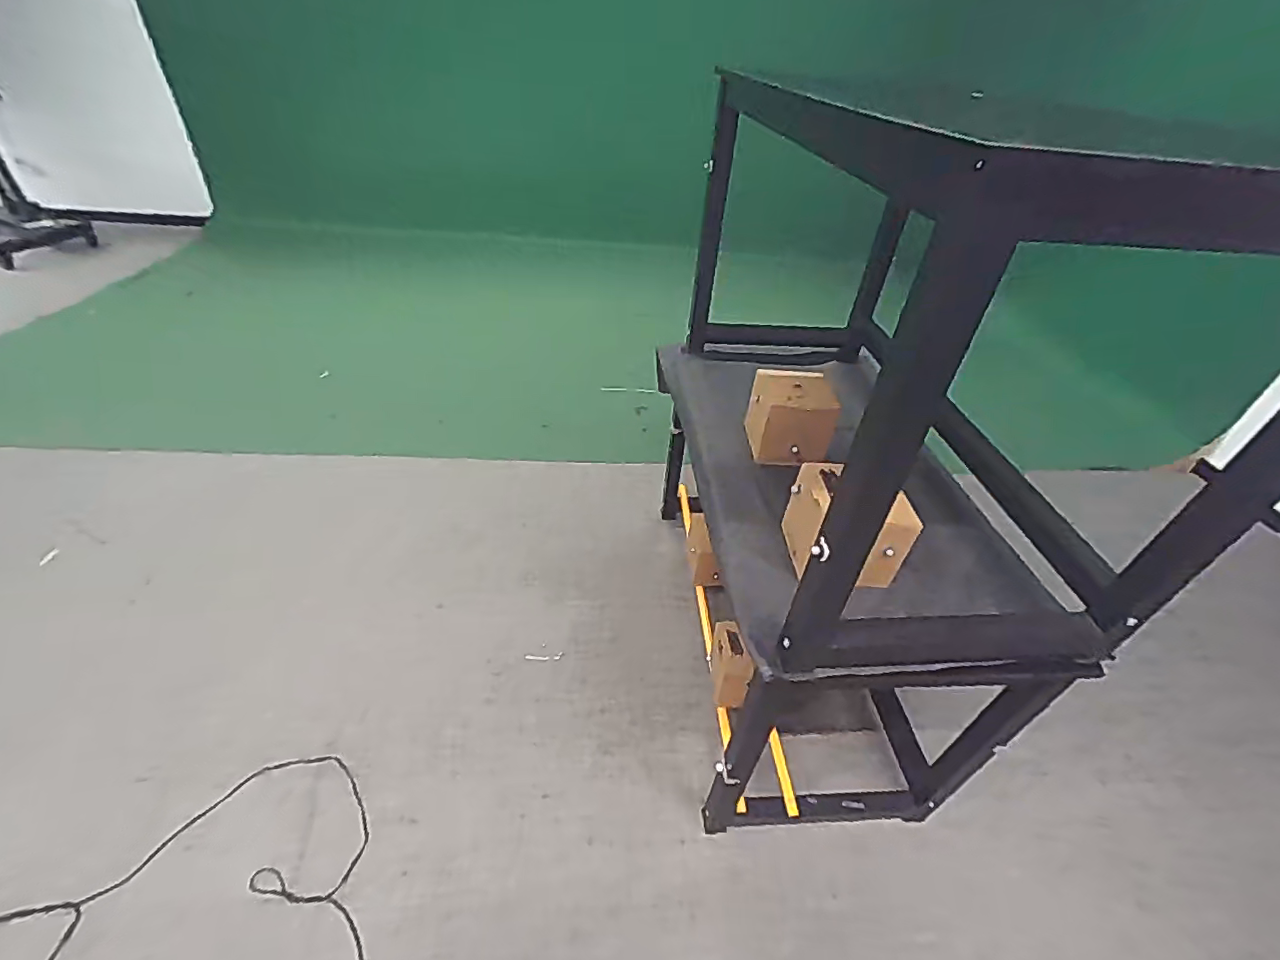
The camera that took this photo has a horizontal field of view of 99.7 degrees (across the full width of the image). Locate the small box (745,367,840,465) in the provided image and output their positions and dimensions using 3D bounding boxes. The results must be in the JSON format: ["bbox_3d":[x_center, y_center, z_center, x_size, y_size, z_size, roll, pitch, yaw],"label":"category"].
[{"bbox_3d":[0.364,-0.158,1.328,0.168,0.176,0.179,3,39,-3],"label":"small box"}]

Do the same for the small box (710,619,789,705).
[{"bbox_3d":[0.293,0.505,1.496,0.179,0.176,0.168,3,40,-3],"label":"small box"}]
